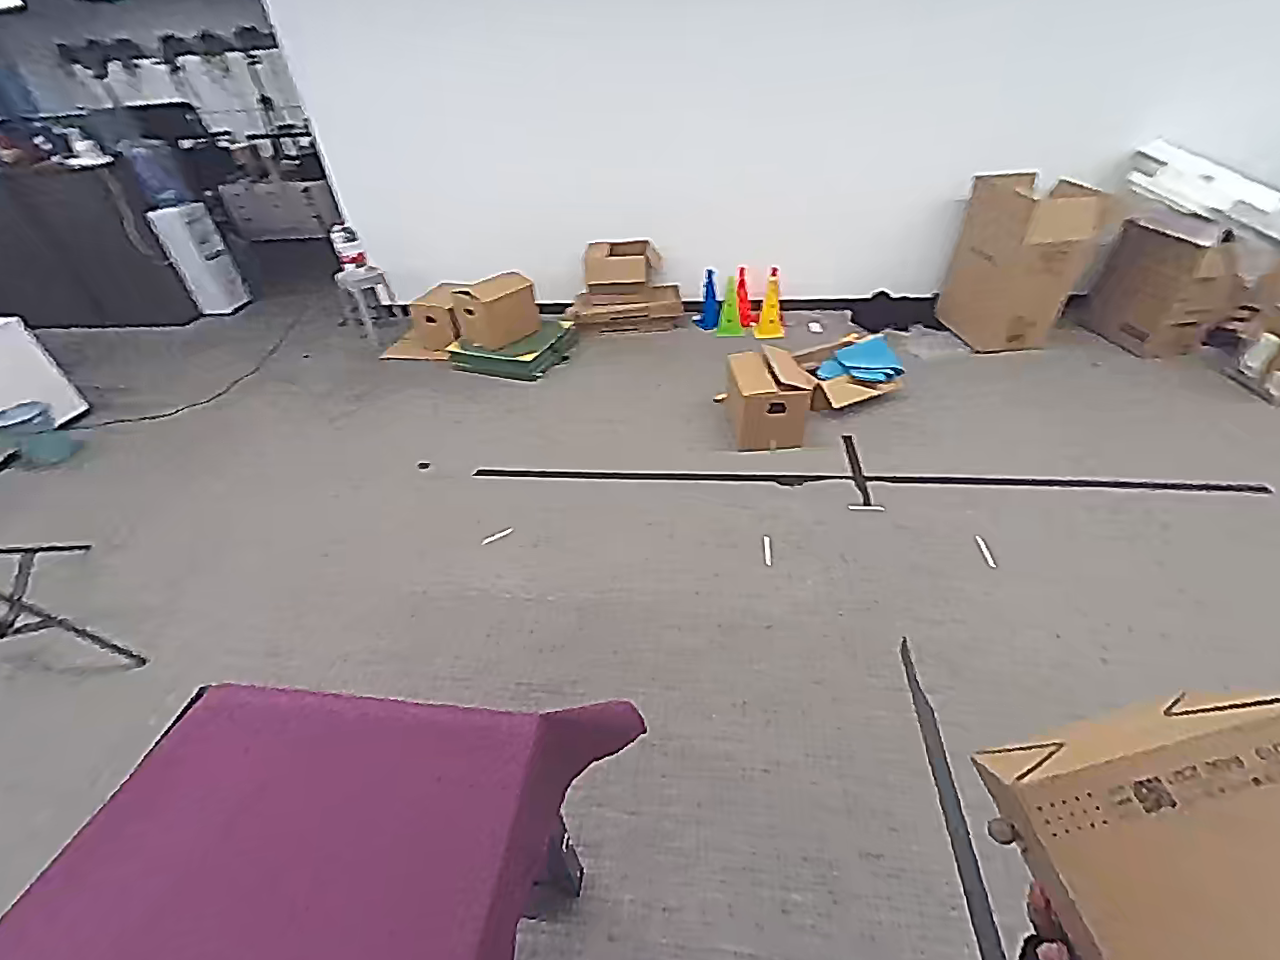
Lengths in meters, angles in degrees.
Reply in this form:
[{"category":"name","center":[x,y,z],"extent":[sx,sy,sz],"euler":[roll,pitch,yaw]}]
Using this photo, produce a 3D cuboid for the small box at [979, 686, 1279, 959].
[{"category":"small box","center":[0.333,0.228,0.317],"extent":[0.168,0.179,0.176],"euler":[-27,62,15]}]
